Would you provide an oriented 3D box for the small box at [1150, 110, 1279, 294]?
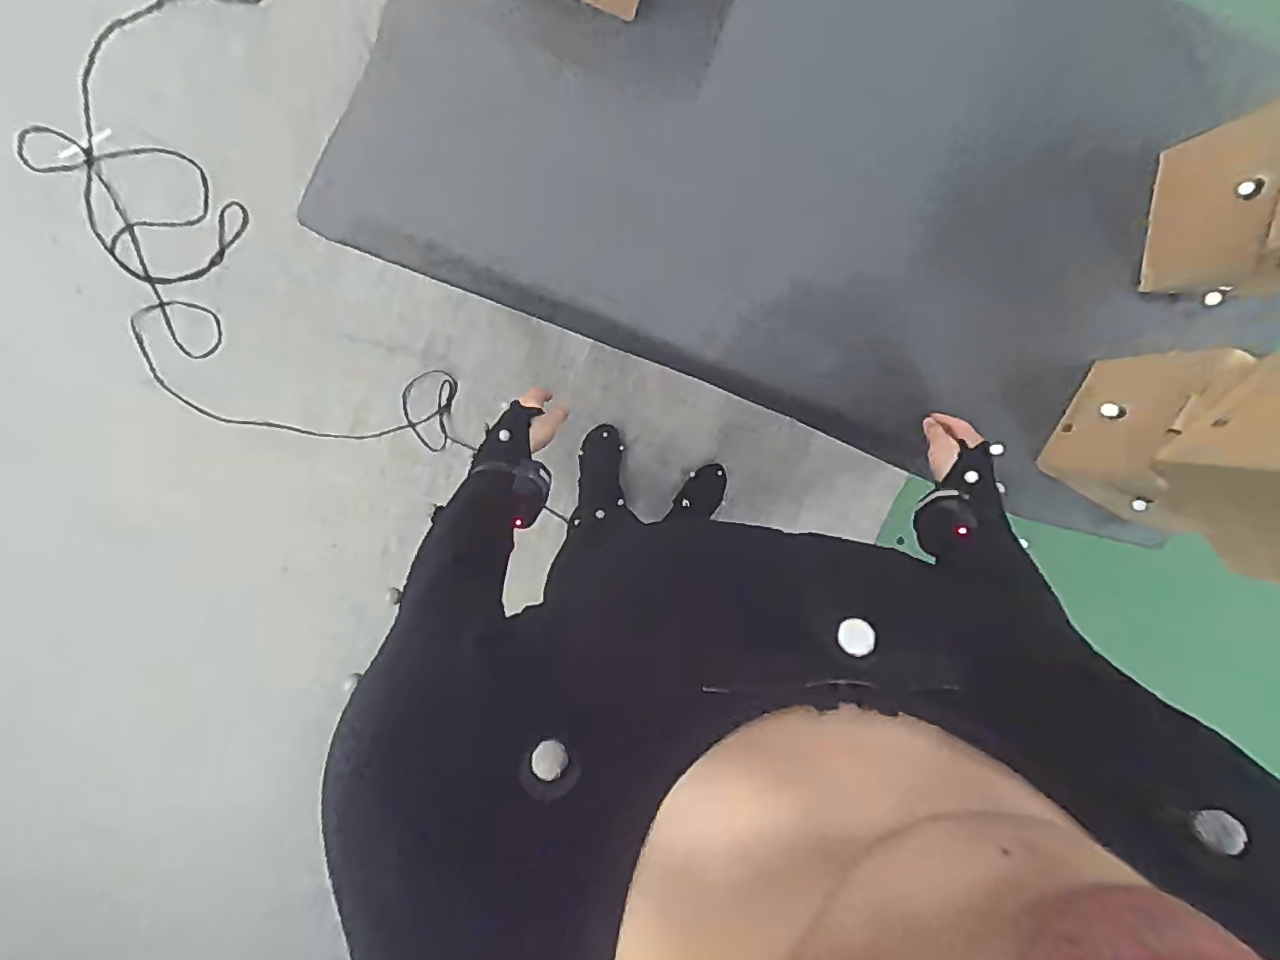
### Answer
[{"bbox_3d":[0.748,-0.319,0.620,0.168,0.176,0.179,1,102,1],"label":"small box"}]

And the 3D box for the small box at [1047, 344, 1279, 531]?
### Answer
[{"bbox_3d":[0.664,-0.043,0.663,0.179,0.176,0.168,28,95,-6],"label":"small box"}]

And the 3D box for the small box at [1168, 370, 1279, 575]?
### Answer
[{"bbox_3d":[0.669,-0.005,0.504,0.168,0.176,0.179,-41,99,2],"label":"small box"}]
